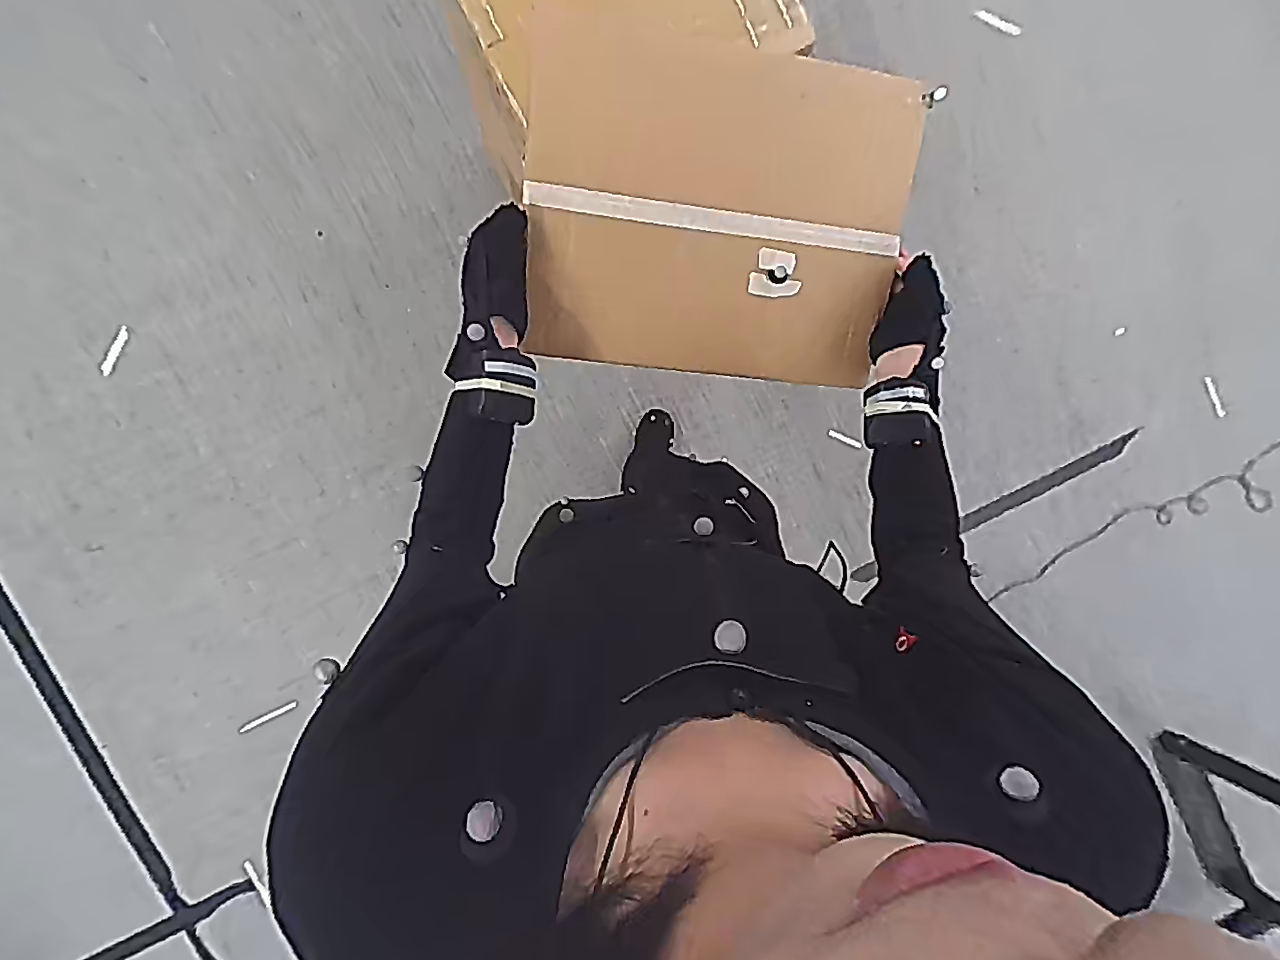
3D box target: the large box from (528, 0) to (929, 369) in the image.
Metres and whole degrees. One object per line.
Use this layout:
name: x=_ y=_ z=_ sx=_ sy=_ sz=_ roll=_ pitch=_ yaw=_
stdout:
large box: x=0.066 y=-0.324 z=0.700 sx=0.408 sy=0.320 sz=0.320 roll=3 pitch=107 yaw=-9
